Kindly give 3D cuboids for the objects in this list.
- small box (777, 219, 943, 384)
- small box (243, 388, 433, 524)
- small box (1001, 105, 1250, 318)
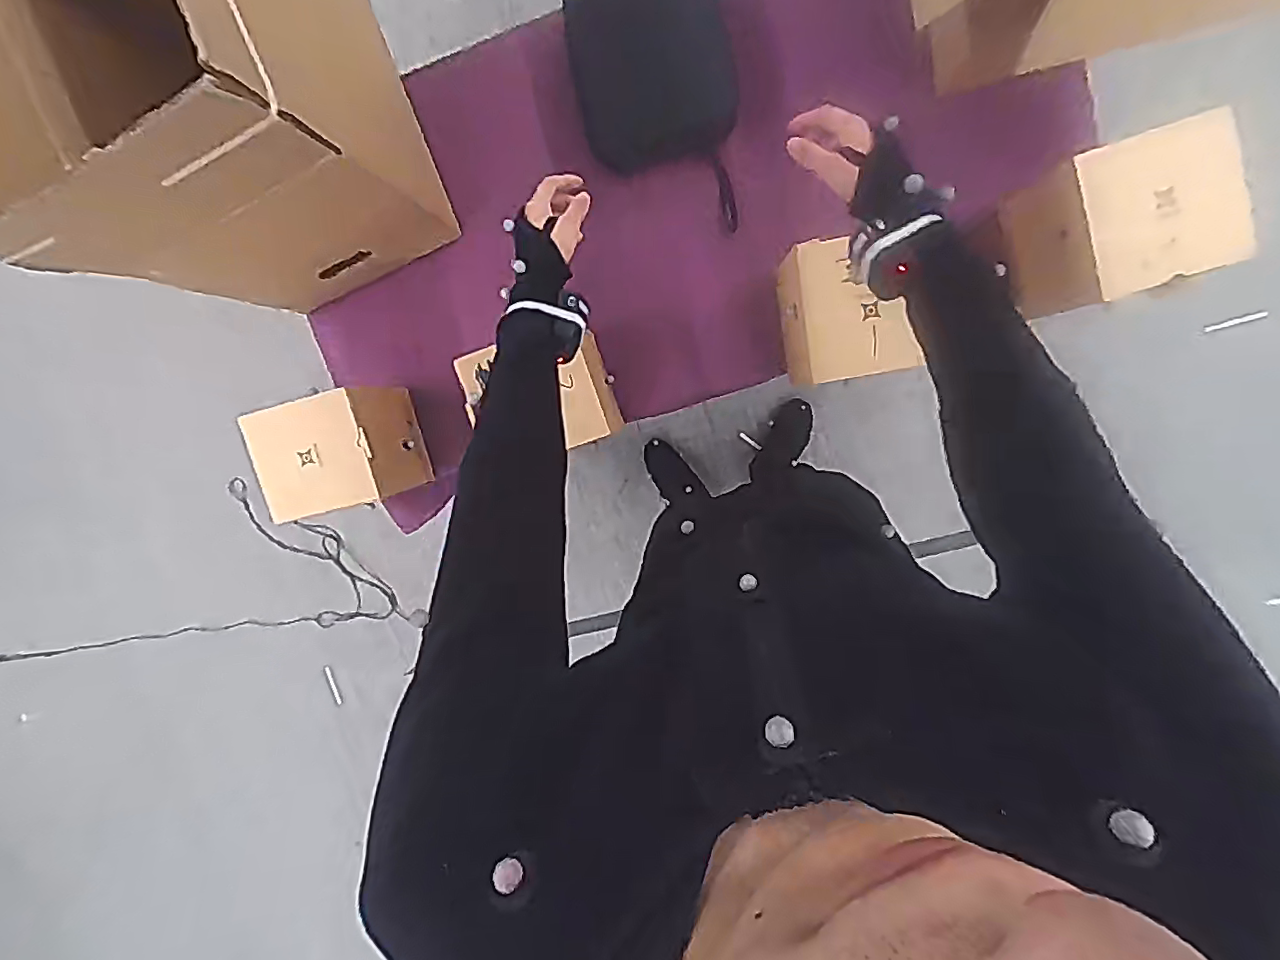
[{"bbox_3d":[0.292,-0.232,0.750,0.168,0.176,0.179,-9,99,7],"label":"small box"},{"bbox_3d":[-0.462,-0.042,0.853,0.179,0.176,0.168,-14,97,6],"label":"small box"},{"bbox_3d":[0.607,-0.328,0.702,0.168,0.176,0.179,-16,97,9],"label":"small box"}]
